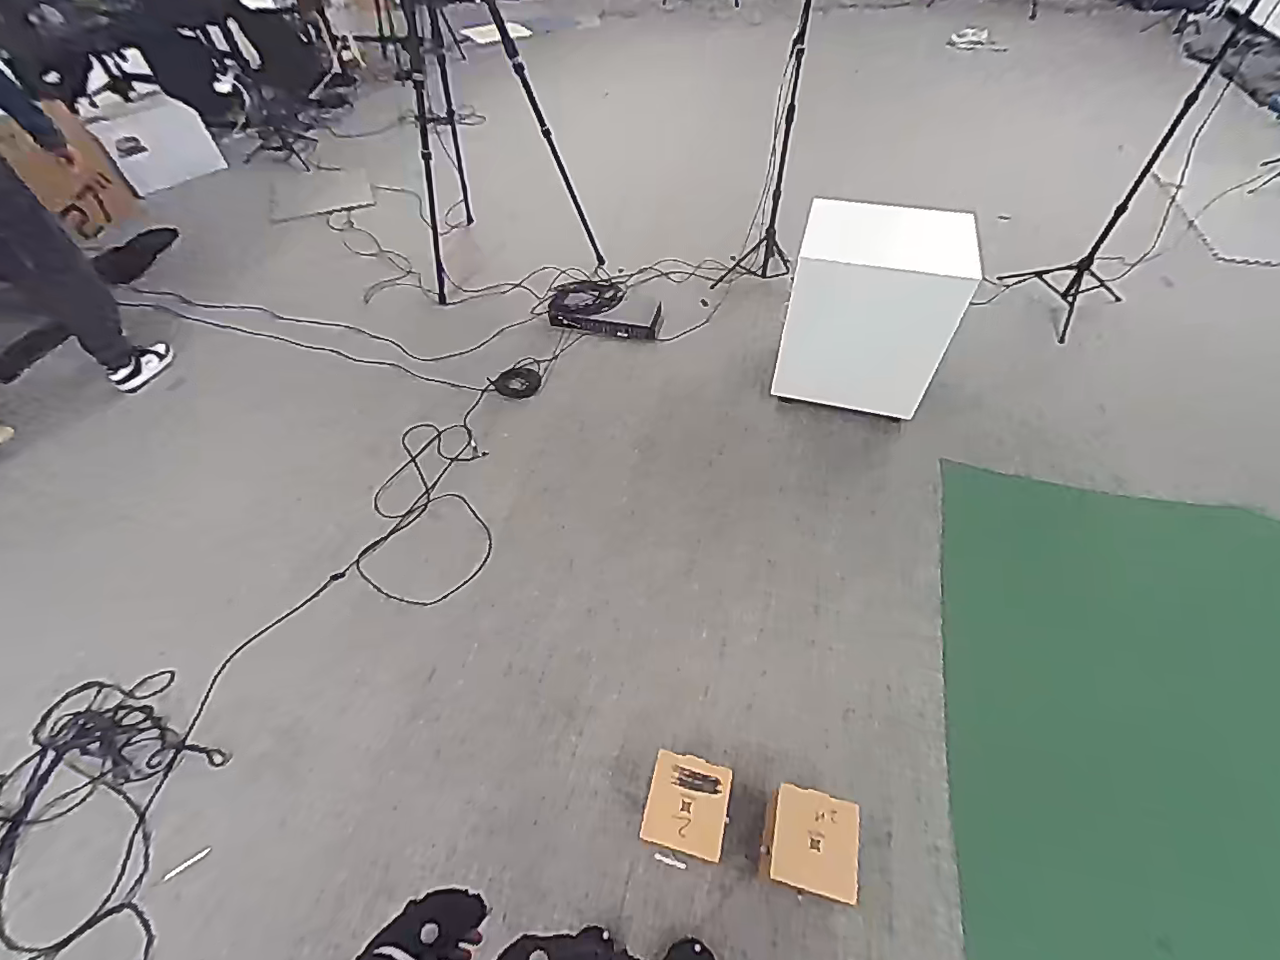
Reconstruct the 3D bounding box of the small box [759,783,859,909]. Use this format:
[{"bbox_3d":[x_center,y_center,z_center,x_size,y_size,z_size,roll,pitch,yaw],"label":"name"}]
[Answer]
[{"bbox_3d":[0.350,0.771,1.138,0.168,0.176,0.179,12,53,11],"label":"small box"}]
